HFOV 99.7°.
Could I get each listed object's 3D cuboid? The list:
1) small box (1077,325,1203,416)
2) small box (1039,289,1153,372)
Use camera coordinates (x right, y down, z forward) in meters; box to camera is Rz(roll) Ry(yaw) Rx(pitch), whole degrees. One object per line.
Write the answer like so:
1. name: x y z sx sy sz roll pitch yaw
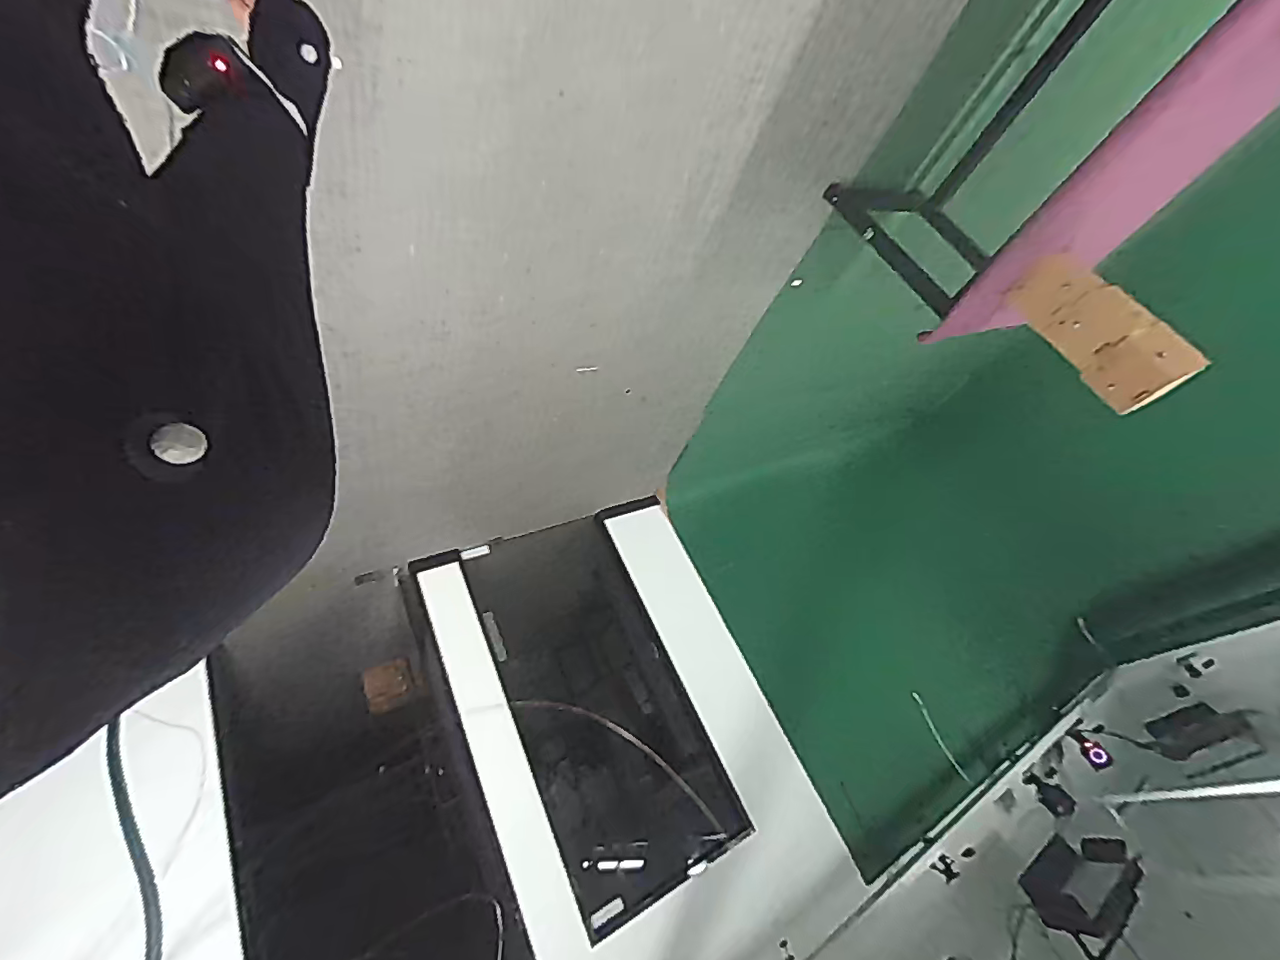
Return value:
1. small box: 1.436 -0.319 1.567 0.179 0.176 0.168 -22 157 -18
2. small box: 1.365 -0.454 1.624 0.179 0.176 0.168 -16 154 -27
